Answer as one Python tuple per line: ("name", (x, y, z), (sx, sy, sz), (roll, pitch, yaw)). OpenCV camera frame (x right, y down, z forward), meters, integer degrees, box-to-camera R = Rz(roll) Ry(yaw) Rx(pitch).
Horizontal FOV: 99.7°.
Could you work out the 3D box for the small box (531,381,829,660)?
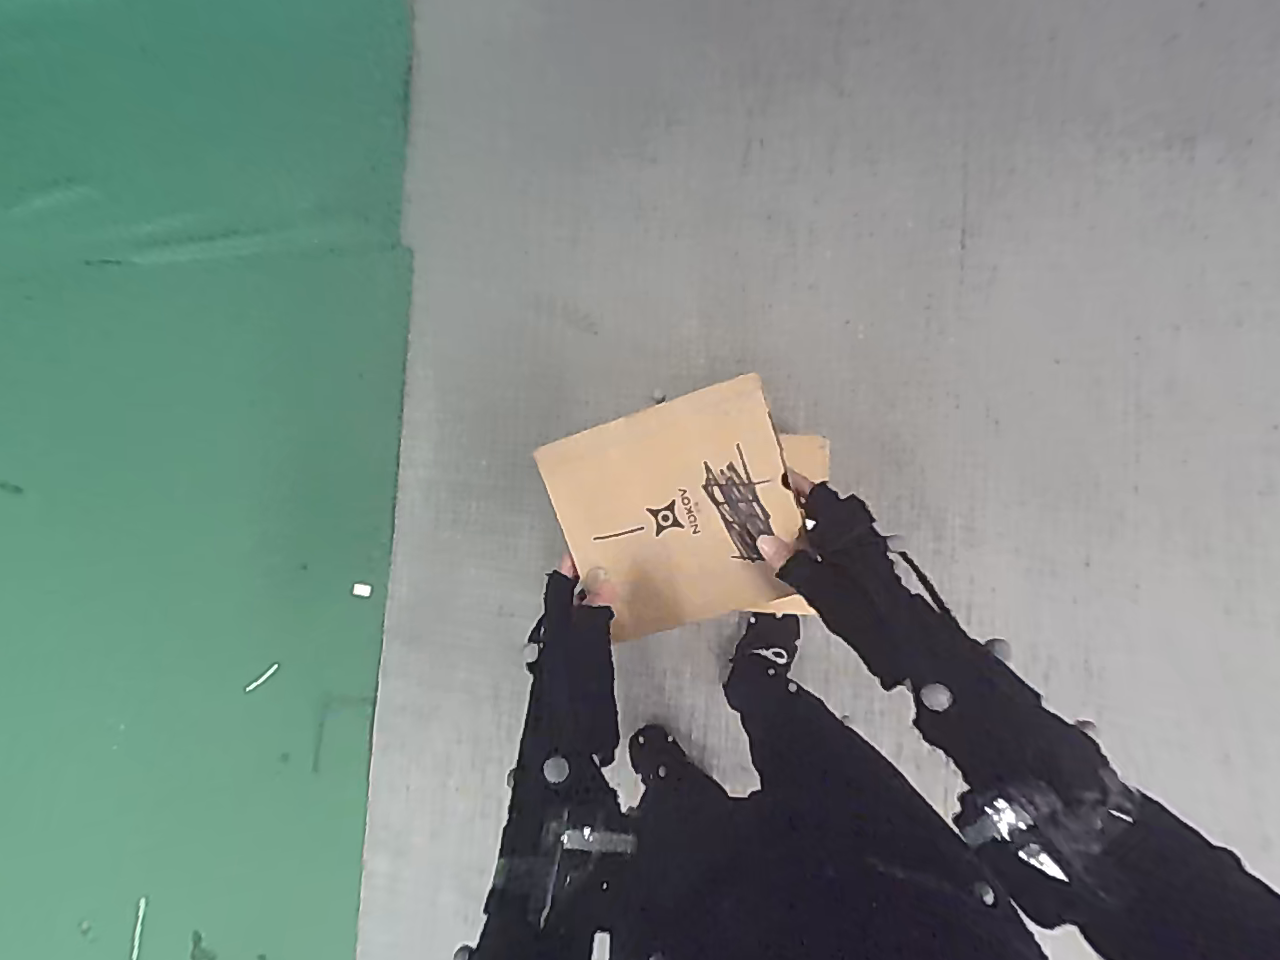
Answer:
("small box", (0.036, 0.020, 0.469), (0.179, 0.176, 0.168), (-22, 96, 10))
